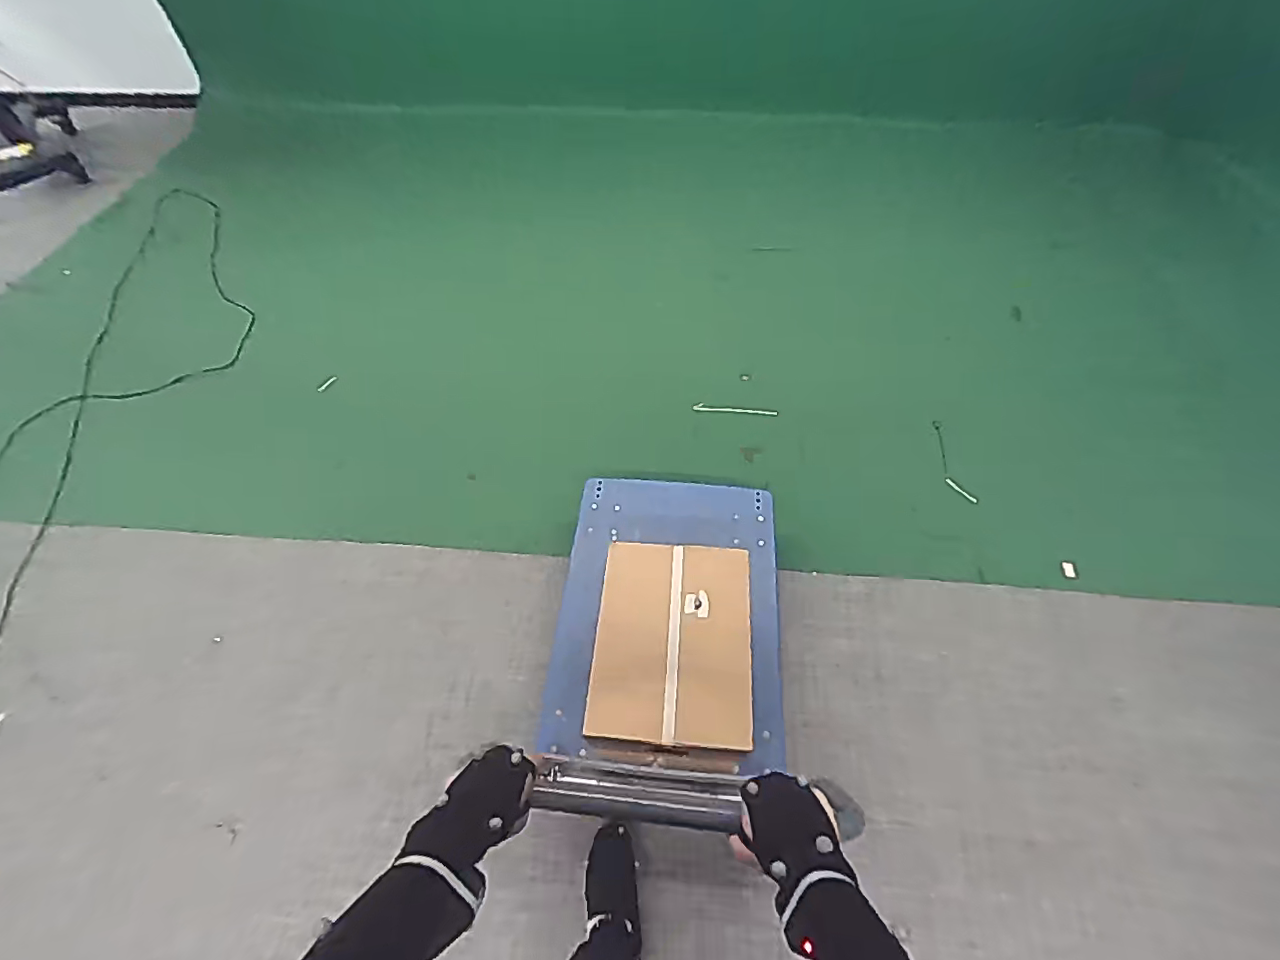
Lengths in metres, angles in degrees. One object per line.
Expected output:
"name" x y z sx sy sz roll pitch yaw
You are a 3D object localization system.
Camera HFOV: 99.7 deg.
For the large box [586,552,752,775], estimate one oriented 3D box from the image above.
"large box" 0.073 0.418 1.226 0.320 0.320 0.408 3 55 5
